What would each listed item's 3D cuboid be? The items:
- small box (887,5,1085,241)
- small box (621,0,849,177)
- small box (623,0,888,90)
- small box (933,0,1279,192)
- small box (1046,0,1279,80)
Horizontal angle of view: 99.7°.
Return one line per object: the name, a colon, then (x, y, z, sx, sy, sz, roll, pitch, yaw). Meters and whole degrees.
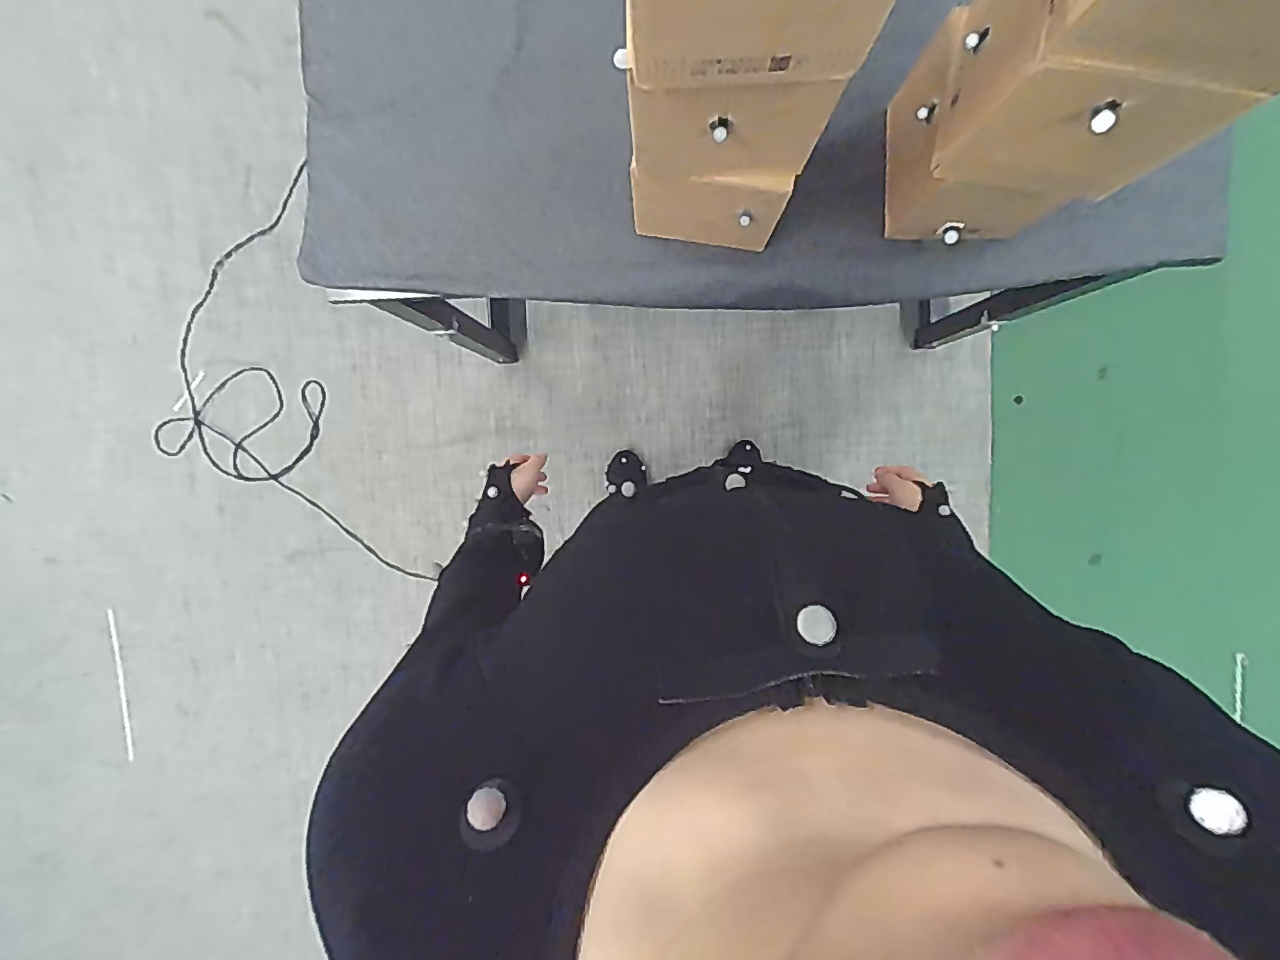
small box: (0.402, -0.400, 0.629, 0.168, 0.176, 0.179, -1, 93, 4)
small box: (0.076, -0.394, 0.481, 0.179, 0.176, 0.168, -1, 93, 3)
small box: (0.070, -0.376, 0.318, 0.168, 0.176, 0.179, -1, 92, 3)
small box: (0.393, -0.376, 0.468, 0.179, 0.176, 0.168, 10, 93, 4)
small box: (0.387, -0.370, 0.303, 0.179, 0.176, 0.168, 12, 93, 4)
